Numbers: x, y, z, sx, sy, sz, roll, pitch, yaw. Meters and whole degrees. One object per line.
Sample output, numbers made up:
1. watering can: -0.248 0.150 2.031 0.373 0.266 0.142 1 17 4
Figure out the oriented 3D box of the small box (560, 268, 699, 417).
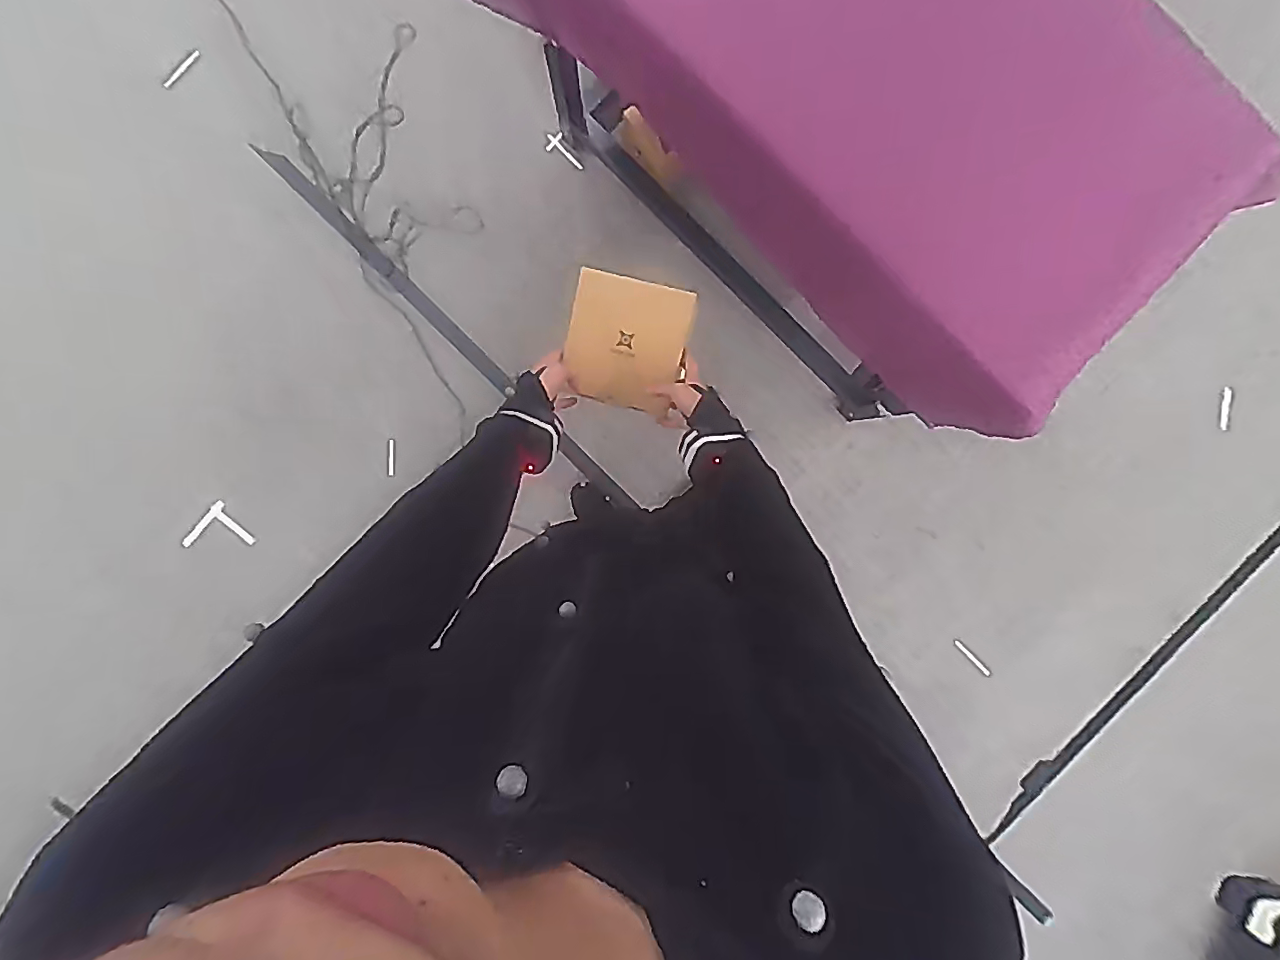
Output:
1. small box: -0.012 -0.208 0.839 0.168 0.176 0.179 14 104 2
